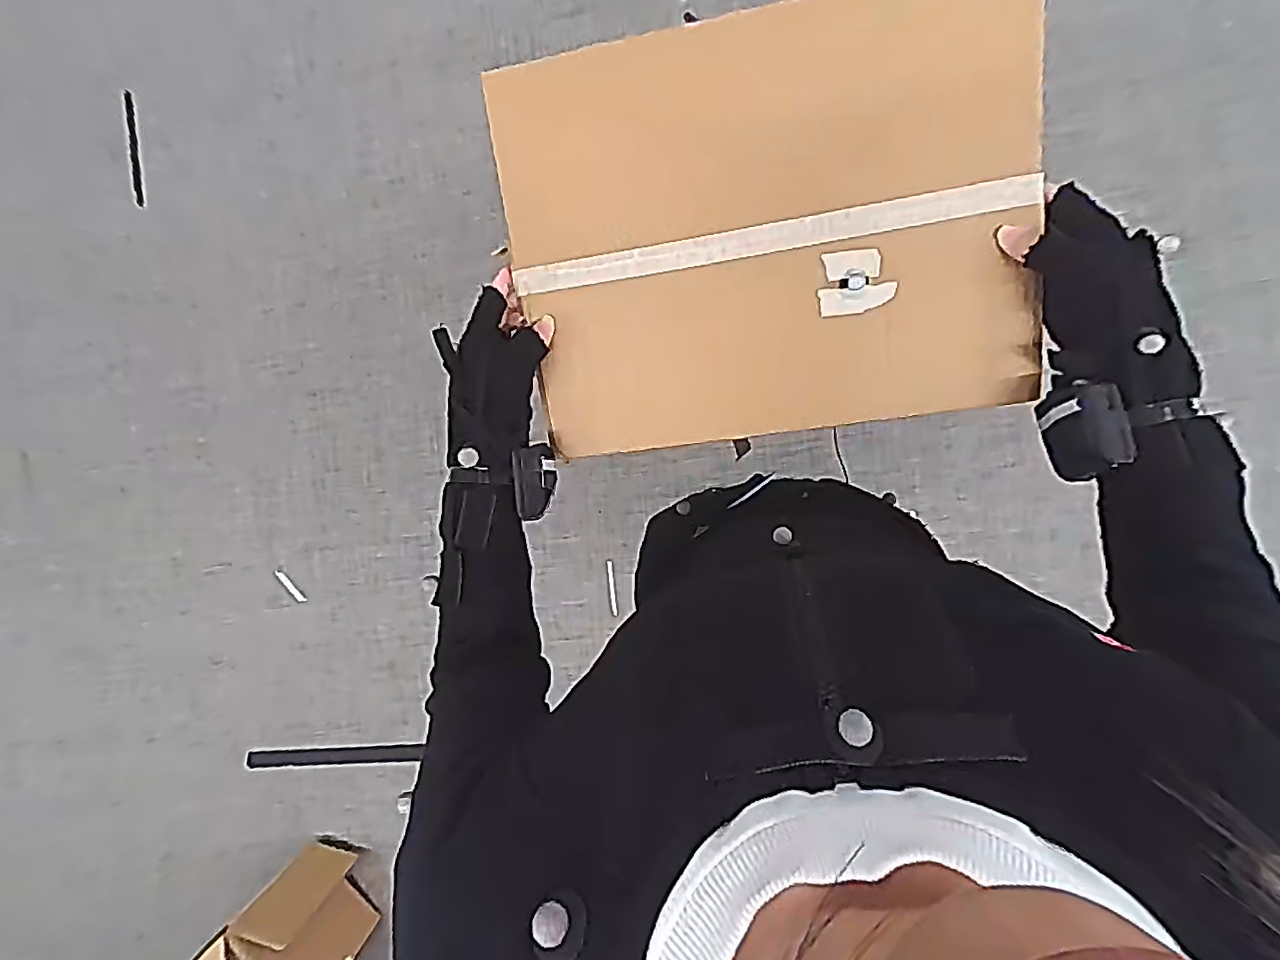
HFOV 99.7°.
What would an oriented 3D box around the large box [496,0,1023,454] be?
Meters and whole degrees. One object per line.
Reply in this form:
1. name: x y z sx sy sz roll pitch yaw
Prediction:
1. large box: 0.114 -0.230 0.588 0.408 0.320 0.320 -7 103 8
